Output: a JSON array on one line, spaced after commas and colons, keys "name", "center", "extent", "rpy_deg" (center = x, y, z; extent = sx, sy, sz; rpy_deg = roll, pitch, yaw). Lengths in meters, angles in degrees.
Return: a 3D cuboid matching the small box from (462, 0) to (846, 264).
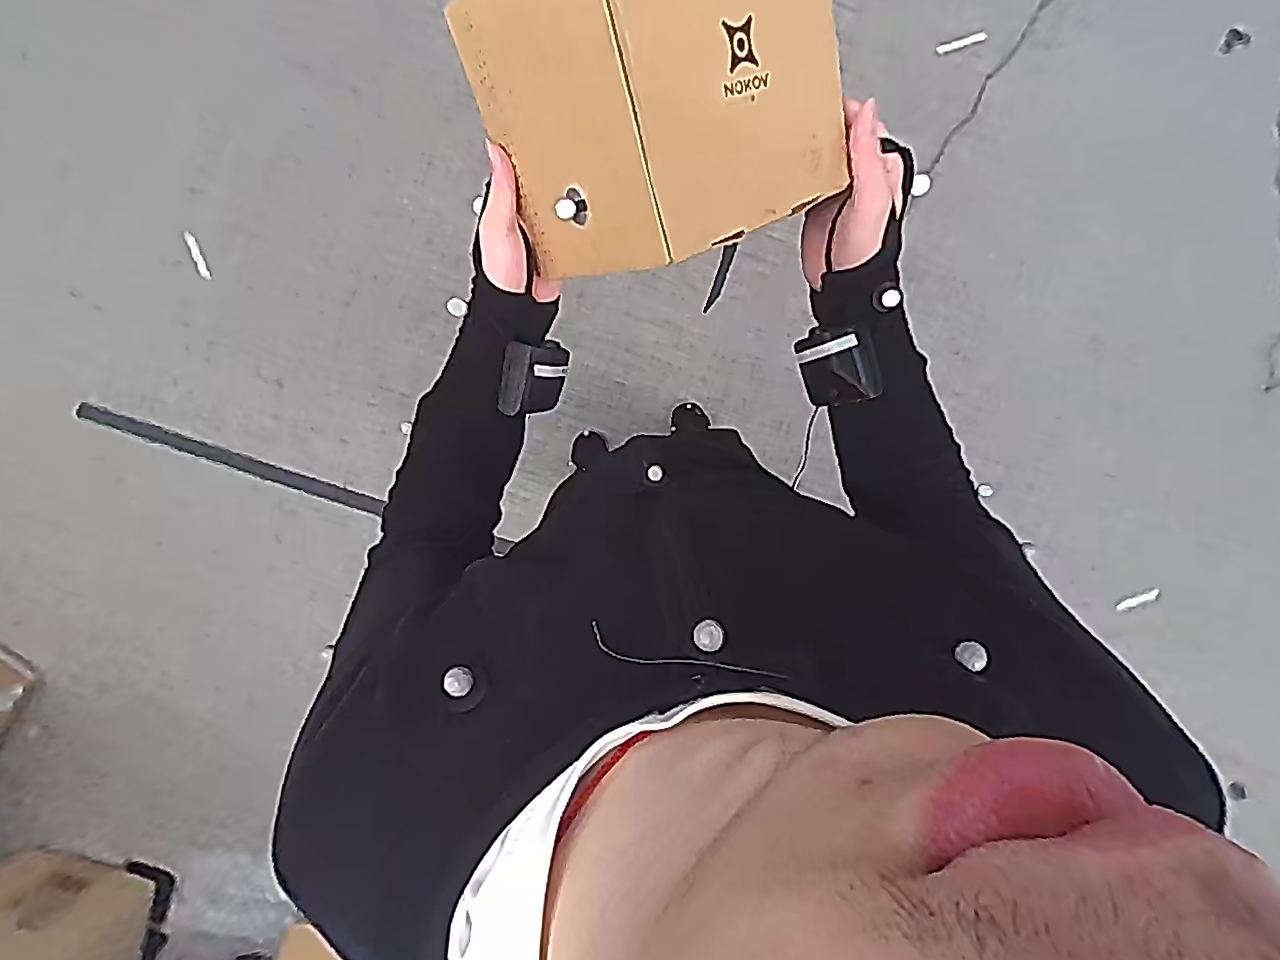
[{"name": "small box", "center": [0.010, -0.255, 0.363], "extent": [0.168, 0.176, 0.179], "rpy_deg": [-32, 120, -25]}]
